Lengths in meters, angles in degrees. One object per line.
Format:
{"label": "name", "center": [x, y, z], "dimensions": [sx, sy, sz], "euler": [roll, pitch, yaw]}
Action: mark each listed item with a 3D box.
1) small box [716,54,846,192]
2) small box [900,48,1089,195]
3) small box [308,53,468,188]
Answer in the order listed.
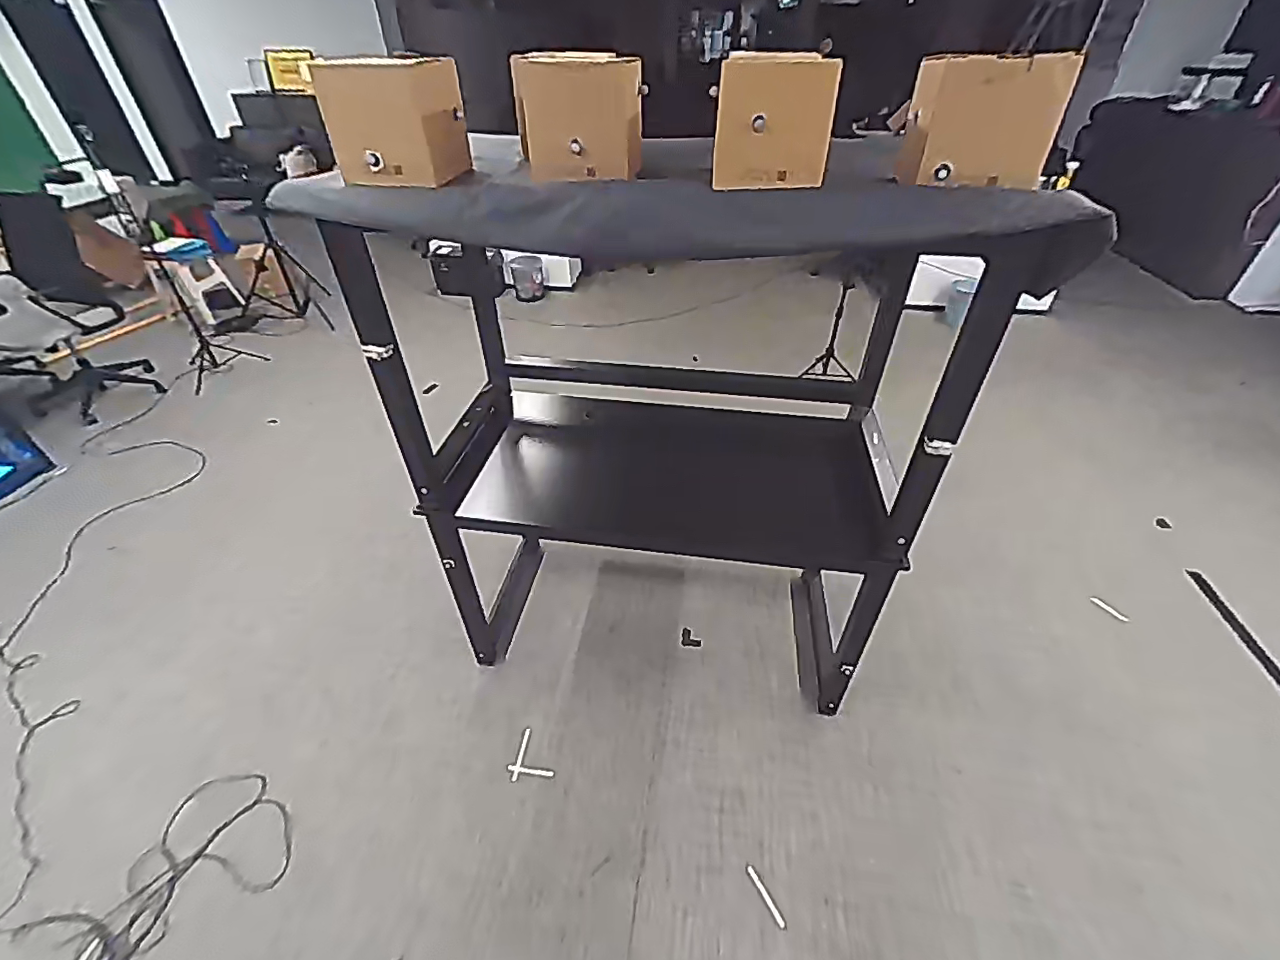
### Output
{"label": "small box", "center": [0.210, -0.558, 0.848], "dimensions": [0.168, 0.176, 0.179], "euler": [4, 37, 6]}
{"label": "small box", "center": [0.508, -0.532, 0.807], "dimensions": [0.168, 0.176, 0.179], "euler": [7, 36, 9]}
{"label": "small box", "center": [-0.400, -0.599, 0.899], "dimensions": [0.168, 0.176, 0.179], "euler": [4, 39, 5]}
